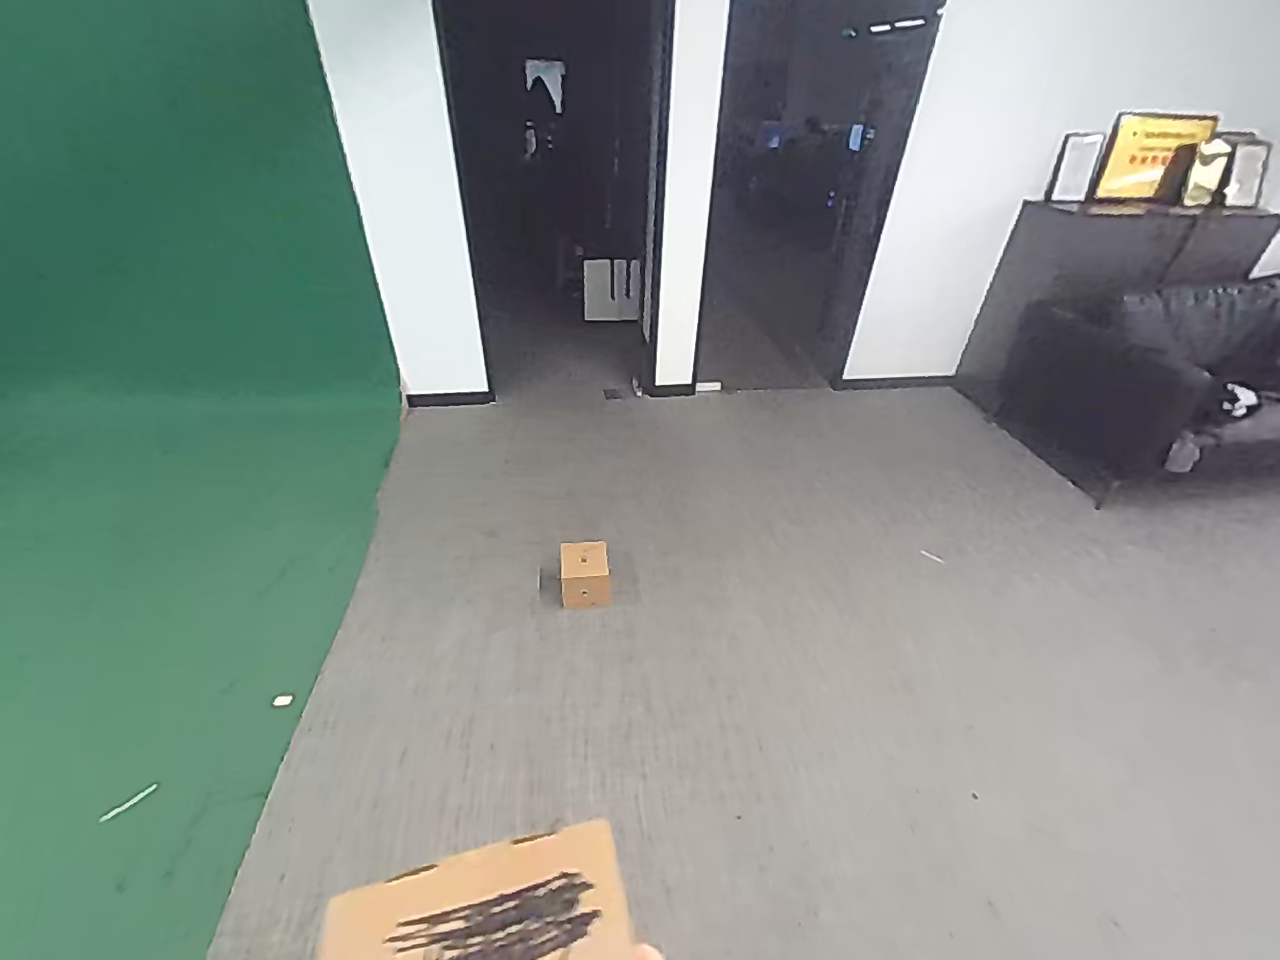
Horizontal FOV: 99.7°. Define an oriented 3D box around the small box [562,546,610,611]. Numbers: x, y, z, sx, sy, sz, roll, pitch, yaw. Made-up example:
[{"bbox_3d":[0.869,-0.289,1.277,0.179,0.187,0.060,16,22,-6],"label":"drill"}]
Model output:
[{"bbox_3d":[-0.198,0.364,1.972,0.168,0.176,0.179,-2,37,-7],"label":"small box"}]
